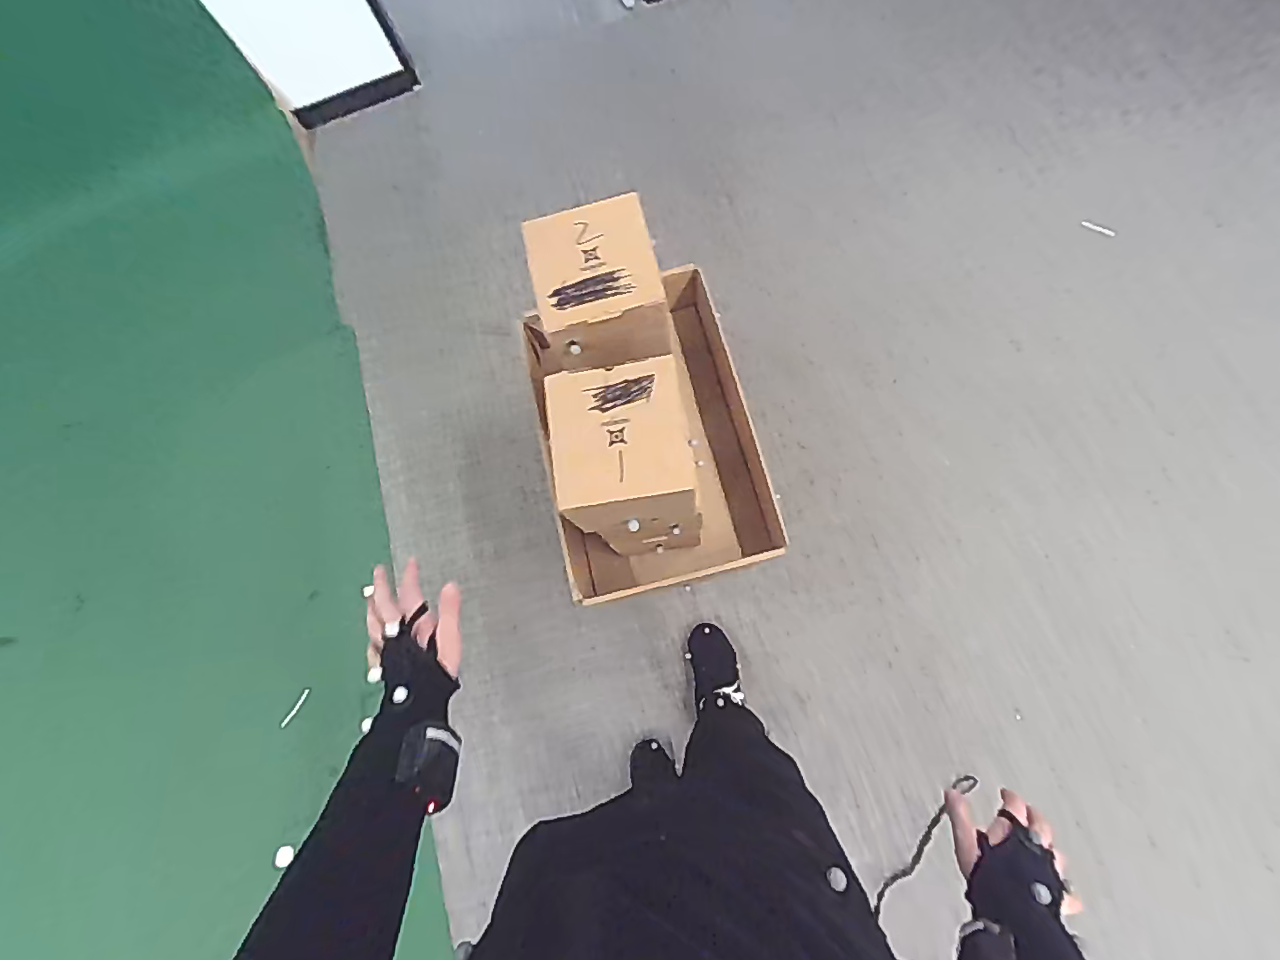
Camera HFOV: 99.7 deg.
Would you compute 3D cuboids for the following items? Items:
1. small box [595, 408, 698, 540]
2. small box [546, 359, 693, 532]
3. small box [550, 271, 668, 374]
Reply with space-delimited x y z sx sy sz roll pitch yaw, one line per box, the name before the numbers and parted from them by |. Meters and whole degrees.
small box | 0.003 -0.001 0.890 0.168 0.176 0.179 -9 74 3
small box | -0.022 -0.037 0.732 0.168 0.176 0.179 -9 75 3
small box | -0.048 -0.231 0.960 0.168 0.176 0.179 -15 76 1
